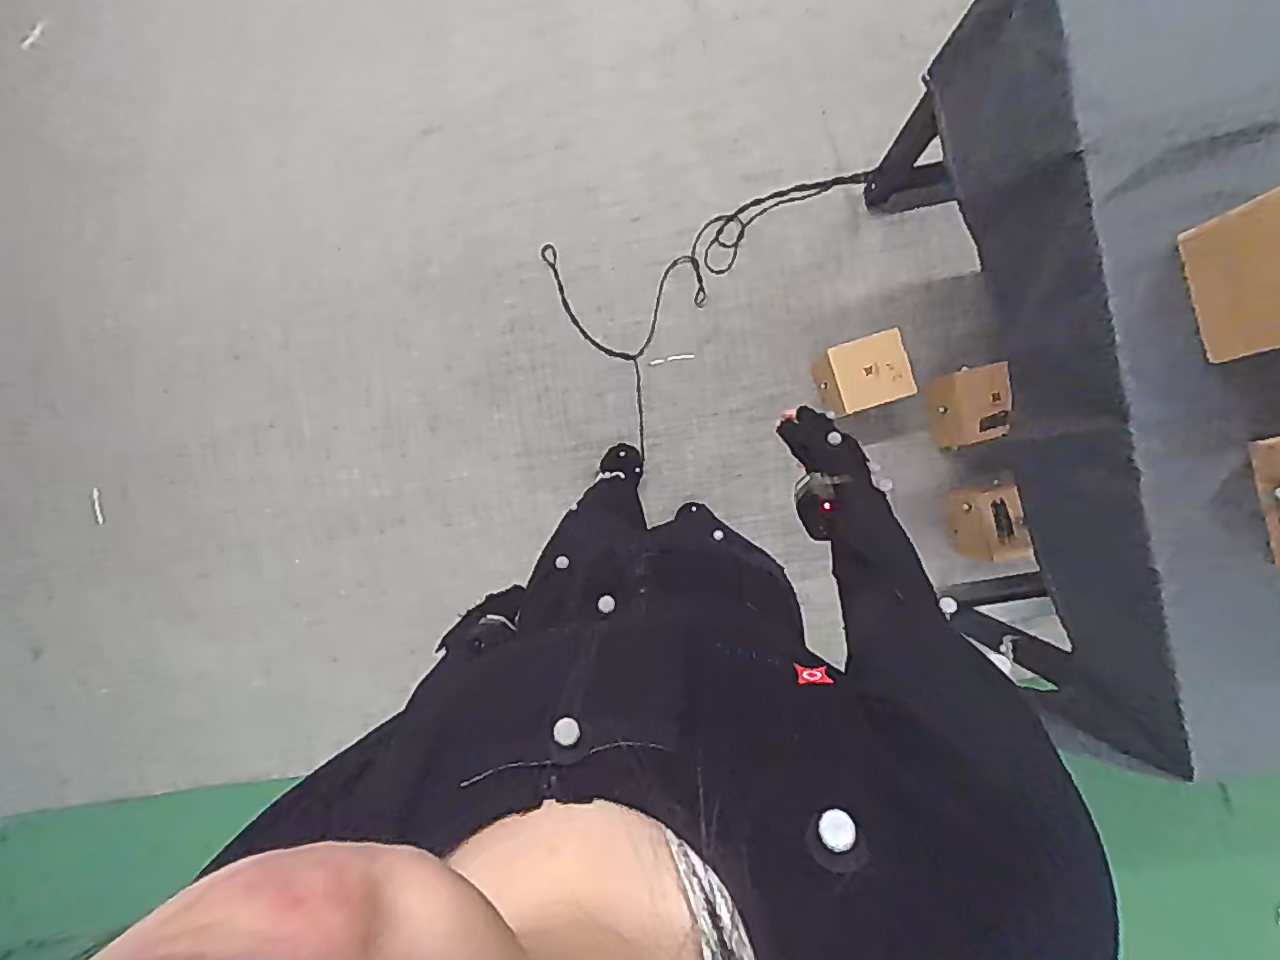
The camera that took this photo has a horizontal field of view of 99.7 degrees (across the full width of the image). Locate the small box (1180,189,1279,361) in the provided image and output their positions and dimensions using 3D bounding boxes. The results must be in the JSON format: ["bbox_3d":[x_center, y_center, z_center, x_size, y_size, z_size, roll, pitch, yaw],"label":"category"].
[{"bbox_3d":[0.788,-0.255,0.620,0.168,0.176,0.179,-15,90,4],"label":"small box"}]

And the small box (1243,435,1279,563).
[{"bbox_3d":[0.878,0.013,0.619,0.179,0.176,0.168,-13,90,4],"label":"small box"}]

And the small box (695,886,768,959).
[{"bbox_3d":[0.241,1.208,1.419,0.168,0.176,0.179,-11,90,4],"label":"small box"}]

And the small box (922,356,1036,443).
[{"bbox_3d":[0.834,-0.191,1.344,0.168,0.176,0.179,-12,89,4],"label":"small box"}]
